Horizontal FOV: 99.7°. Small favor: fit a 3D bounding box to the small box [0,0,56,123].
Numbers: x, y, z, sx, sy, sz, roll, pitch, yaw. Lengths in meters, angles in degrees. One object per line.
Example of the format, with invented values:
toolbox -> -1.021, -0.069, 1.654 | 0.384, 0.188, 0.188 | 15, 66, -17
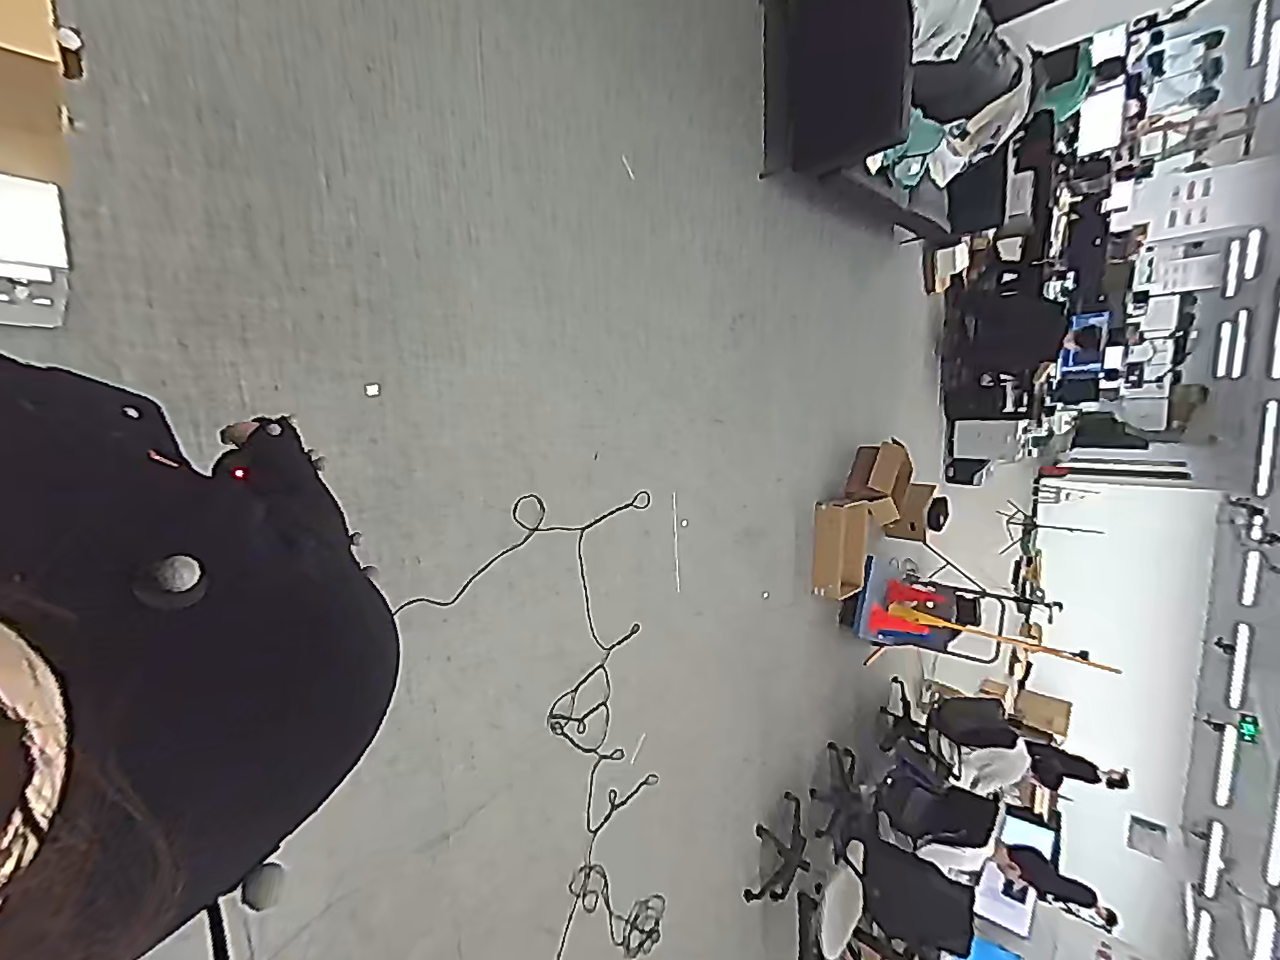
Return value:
small box -> -0.557, -0.396, 0.387 | 0.179, 0.176, 0.168 | -8, 100, -47
